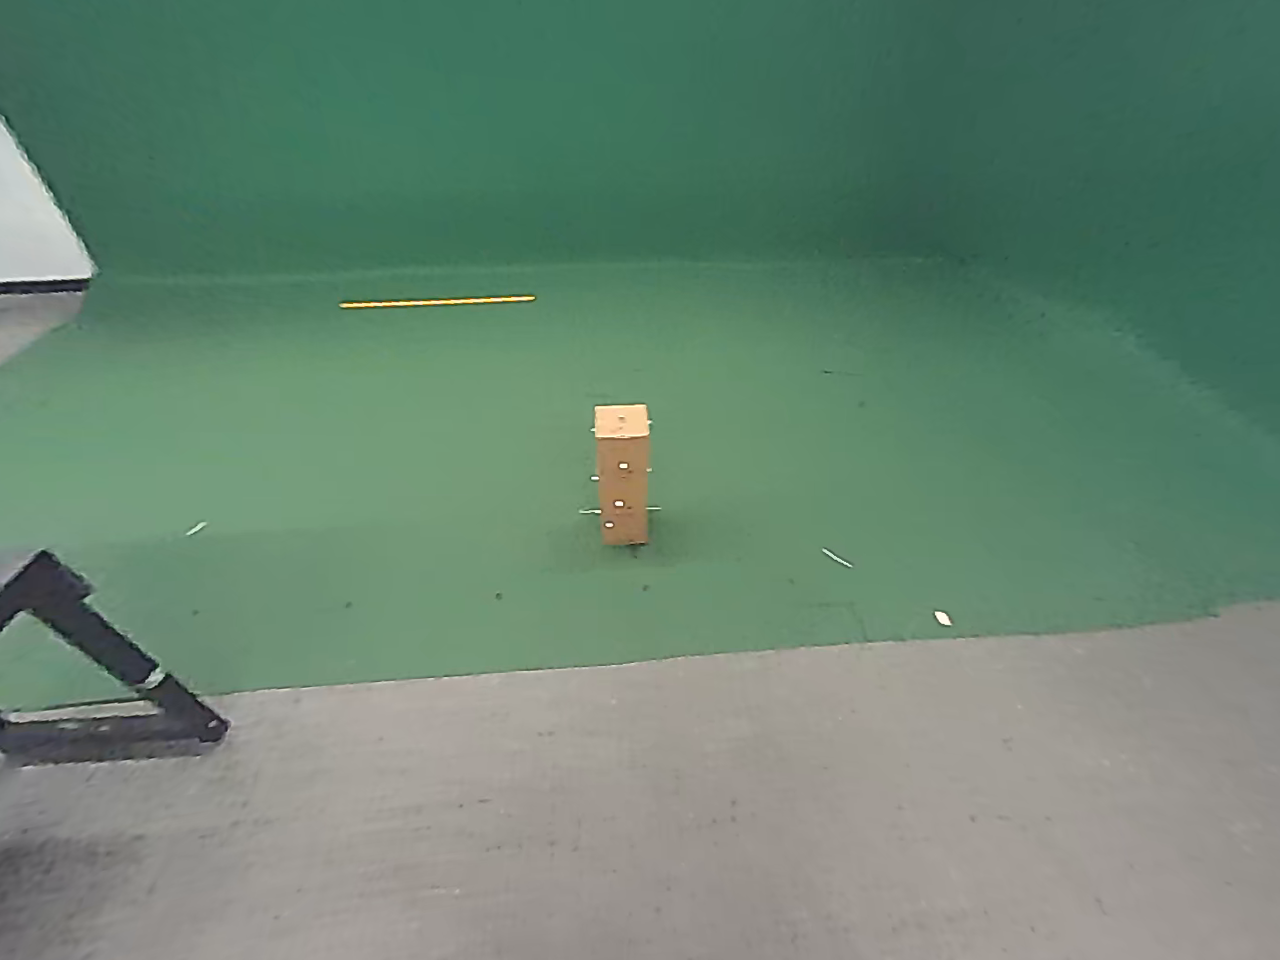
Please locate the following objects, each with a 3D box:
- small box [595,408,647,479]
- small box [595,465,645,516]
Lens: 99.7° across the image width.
[{"bbox_3d":[-0.065,-0.122,1.780,0.168,0.176,0.179,-2,41,-3],"label":"small box"},{"bbox_3d":[-0.074,0.006,1.884,0.168,0.176,0.179,-2,41,-4],"label":"small box"}]
